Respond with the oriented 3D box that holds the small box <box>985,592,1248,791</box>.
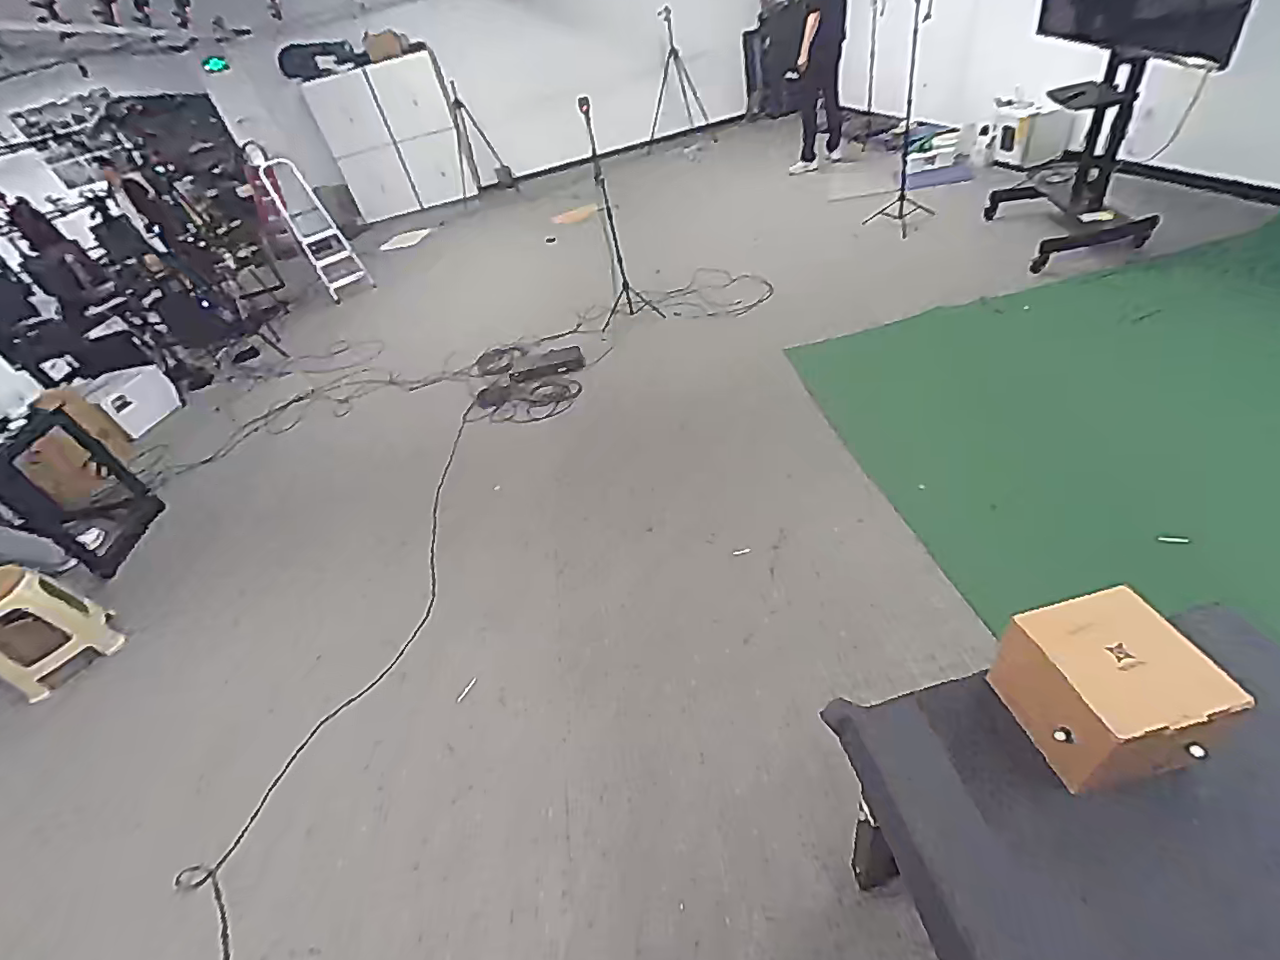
[{"bbox_3d":[0.608,0.286,0.722,0.168,0.176,0.179,-14,38,-4],"label":"small box"}]
